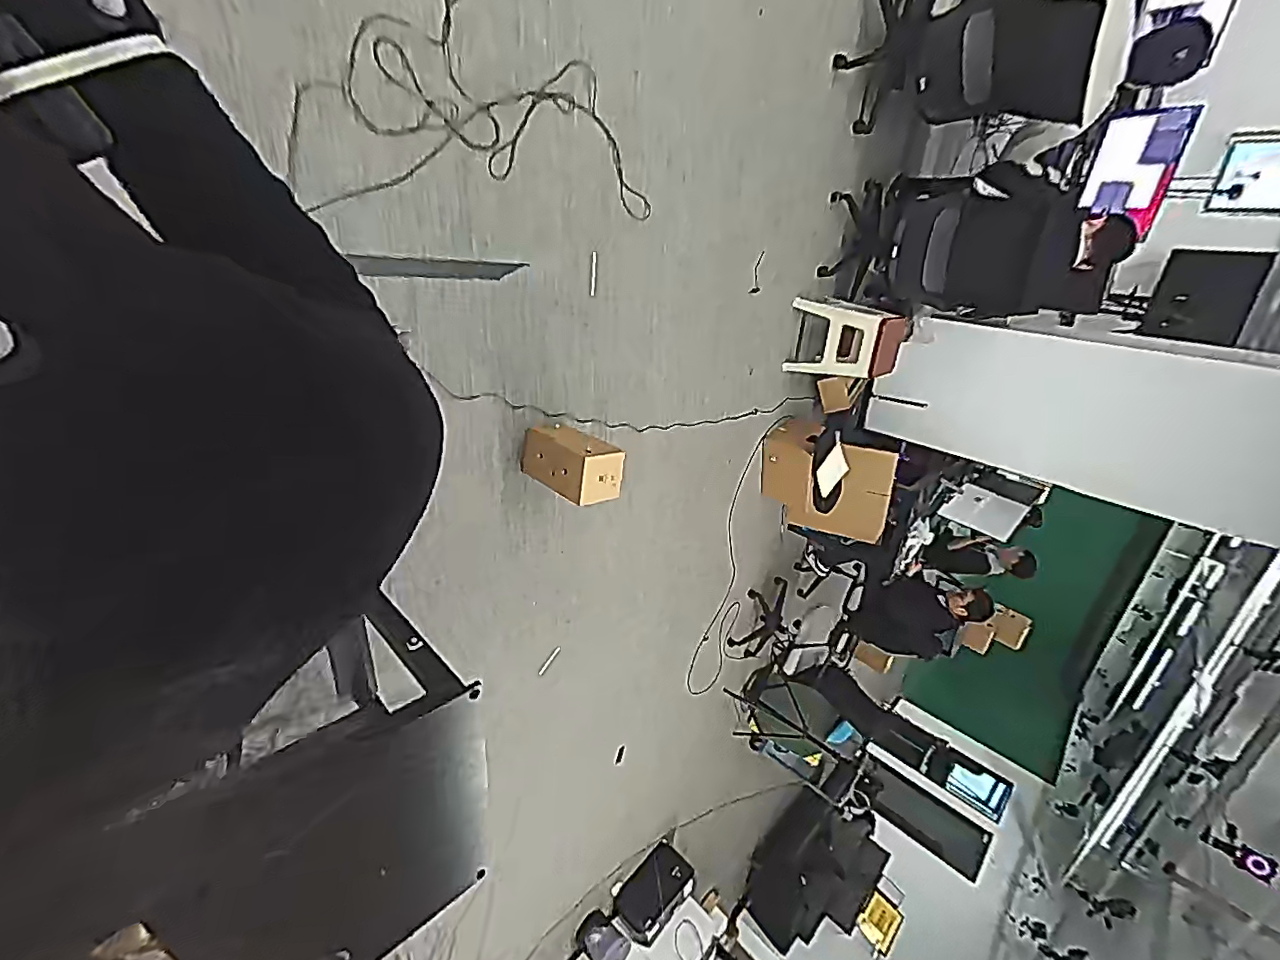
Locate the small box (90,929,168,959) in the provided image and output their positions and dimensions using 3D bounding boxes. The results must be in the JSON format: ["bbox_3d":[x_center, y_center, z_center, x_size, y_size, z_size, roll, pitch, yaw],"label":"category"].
[{"bbox_3d":[-0.695,0.741,0.689,0.179,0.176,0.168,-25,128,-40],"label":"small box"}]

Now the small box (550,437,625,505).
[{"bbox_3d":[-0.177,-0.035,1.777,0.179,0.176,0.168,-13,120,-45],"label":"small box"}]

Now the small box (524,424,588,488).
[{"bbox_3d":[-0.288,-0.087,1.889,0.168,0.176,0.179,-9,116,-47],"label":"small box"}]
